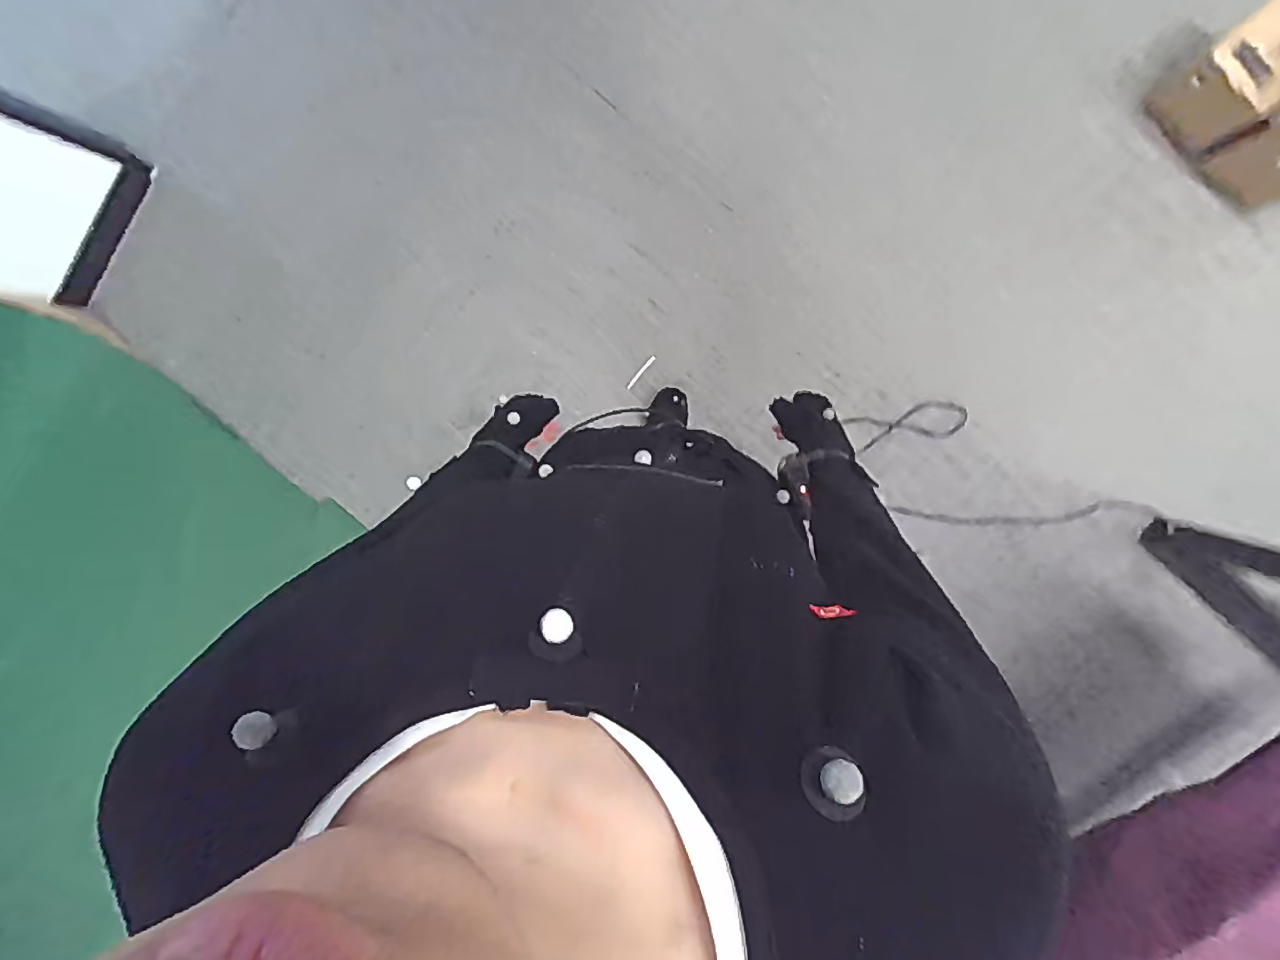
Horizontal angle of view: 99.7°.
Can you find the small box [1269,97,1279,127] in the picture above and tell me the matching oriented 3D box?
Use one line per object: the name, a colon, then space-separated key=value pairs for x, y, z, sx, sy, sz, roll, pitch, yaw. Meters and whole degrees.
small box: x=1.316 y=-0.707 z=0.958 sx=0.179 sy=0.176 sz=0.168 roll=40 pitch=101 yaw=-1
